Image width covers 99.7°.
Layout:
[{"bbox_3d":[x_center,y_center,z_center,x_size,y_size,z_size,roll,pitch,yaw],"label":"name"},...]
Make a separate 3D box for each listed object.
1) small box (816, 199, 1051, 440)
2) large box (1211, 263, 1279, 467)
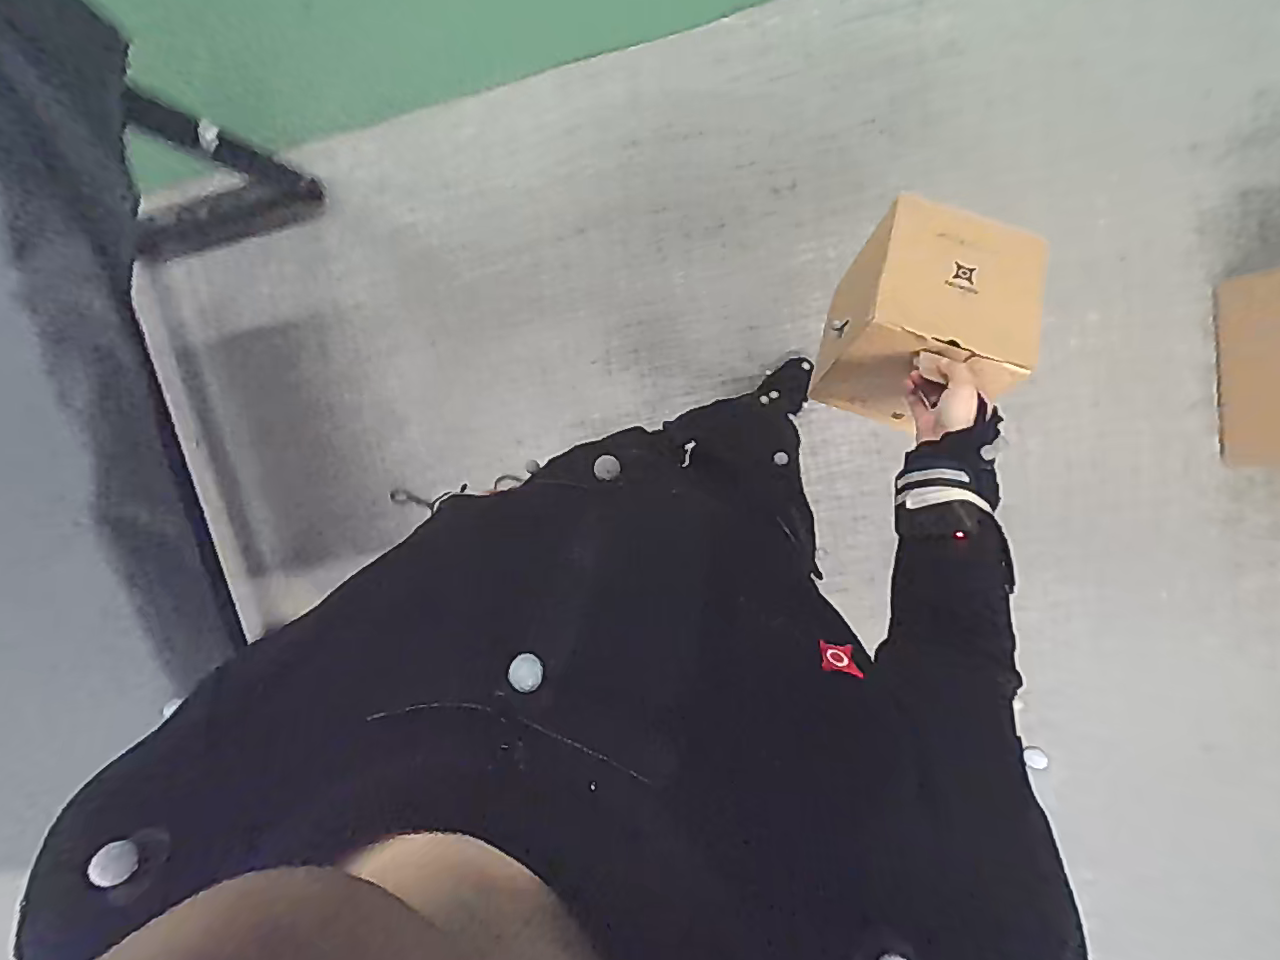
[{"bbox_3d":[0.321,-0.170,0.618,0.168,0.176,0.179,20,70,0],"label":"small box"},{"bbox_3d":[1.383,-0.241,1.010,0.320,0.320,0.408,-12,100,9],"label":"large box"}]
